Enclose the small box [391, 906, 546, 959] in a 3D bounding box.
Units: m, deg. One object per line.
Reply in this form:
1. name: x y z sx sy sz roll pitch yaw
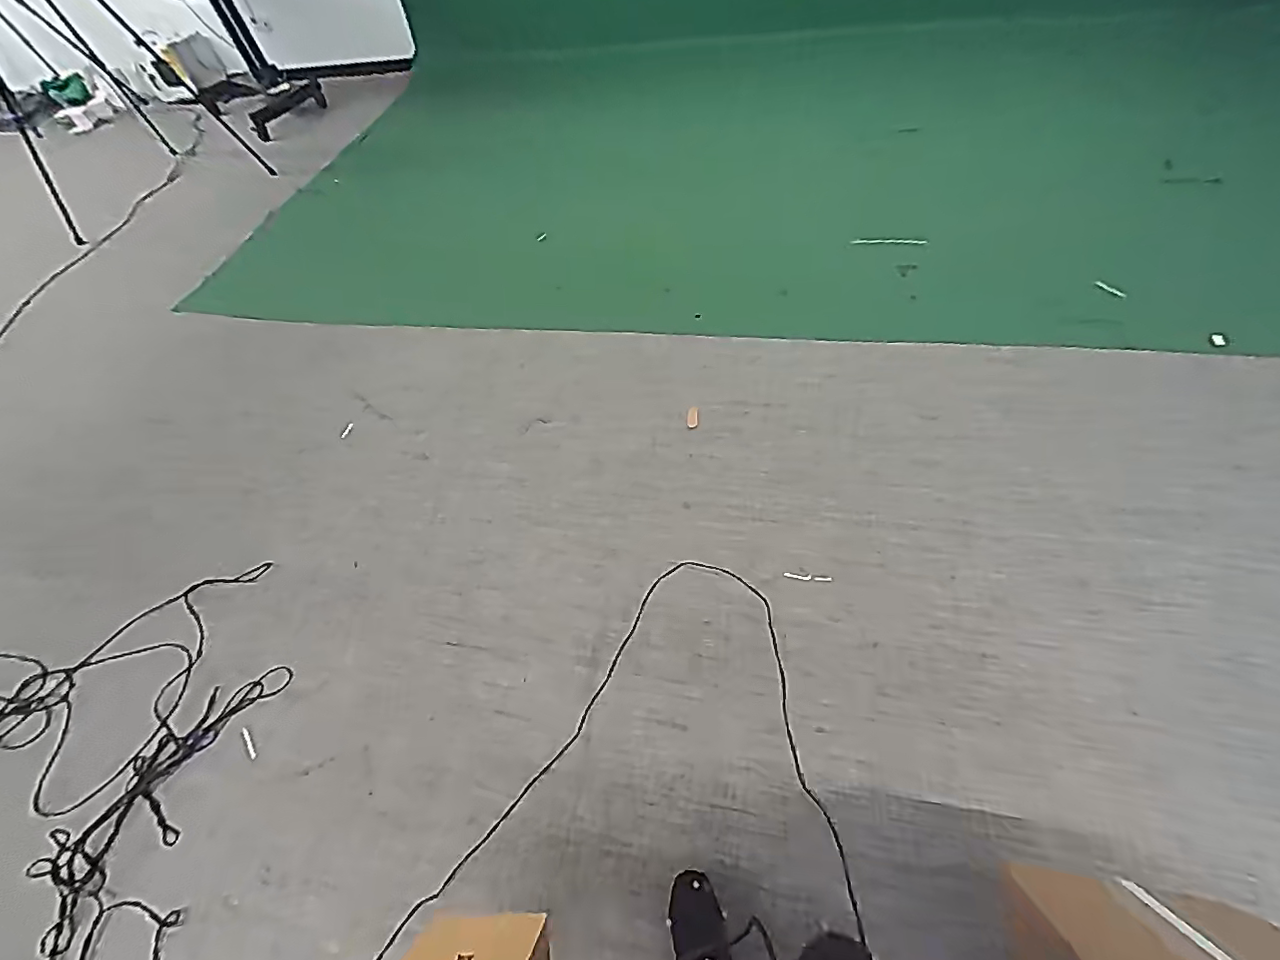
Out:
1. small box: -0.214 0.657 0.644 0.168 0.179 0.176 -5 86 6
